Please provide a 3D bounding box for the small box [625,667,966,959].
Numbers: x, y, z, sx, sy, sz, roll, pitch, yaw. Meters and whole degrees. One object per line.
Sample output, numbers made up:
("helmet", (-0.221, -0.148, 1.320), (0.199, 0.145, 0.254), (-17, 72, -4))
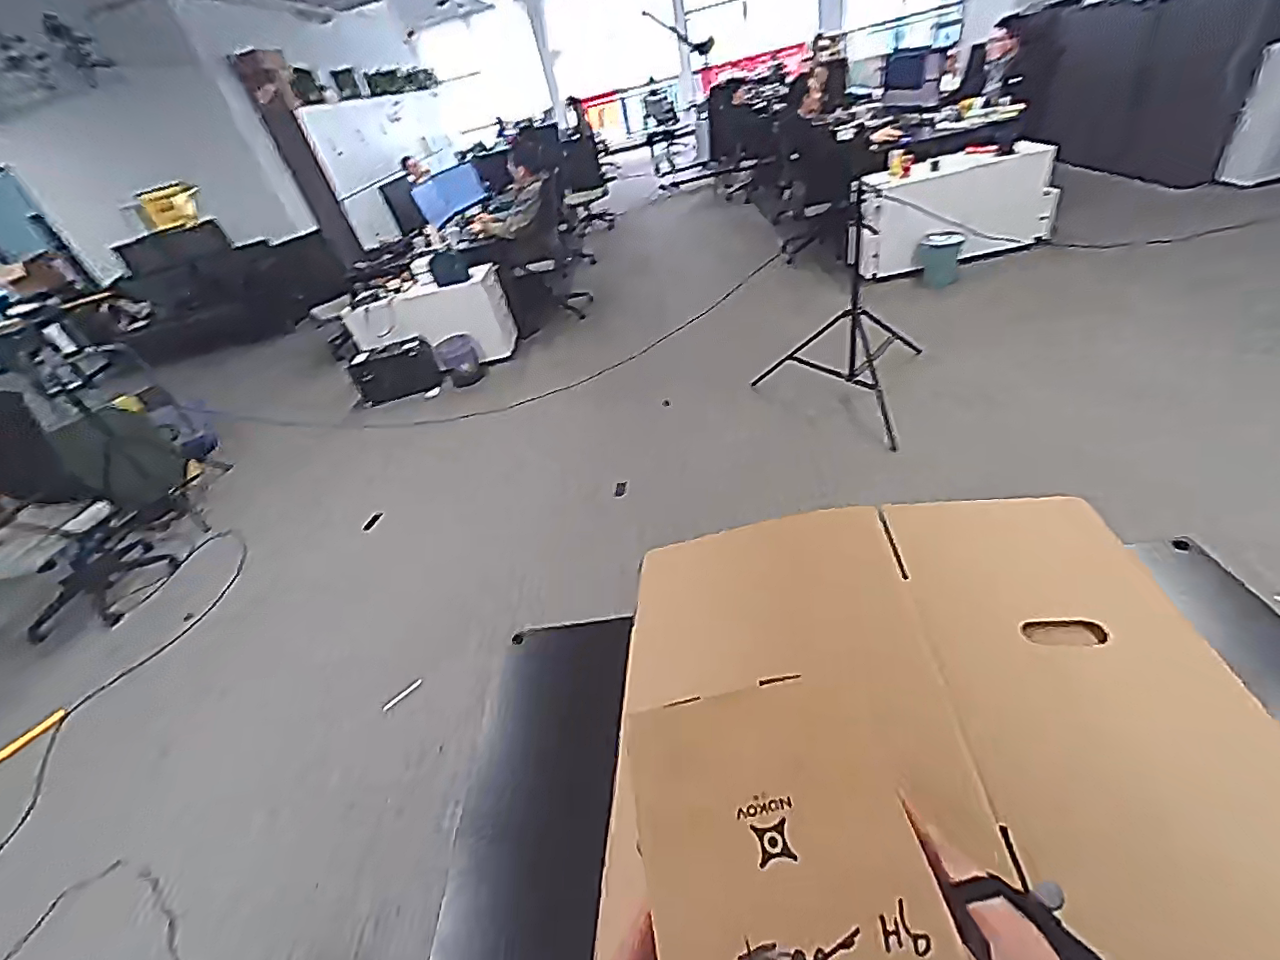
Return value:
("small box", (0.092, 0.268, 0.396), (0.168, 0.176, 0.179), (-14, 47, 0))
